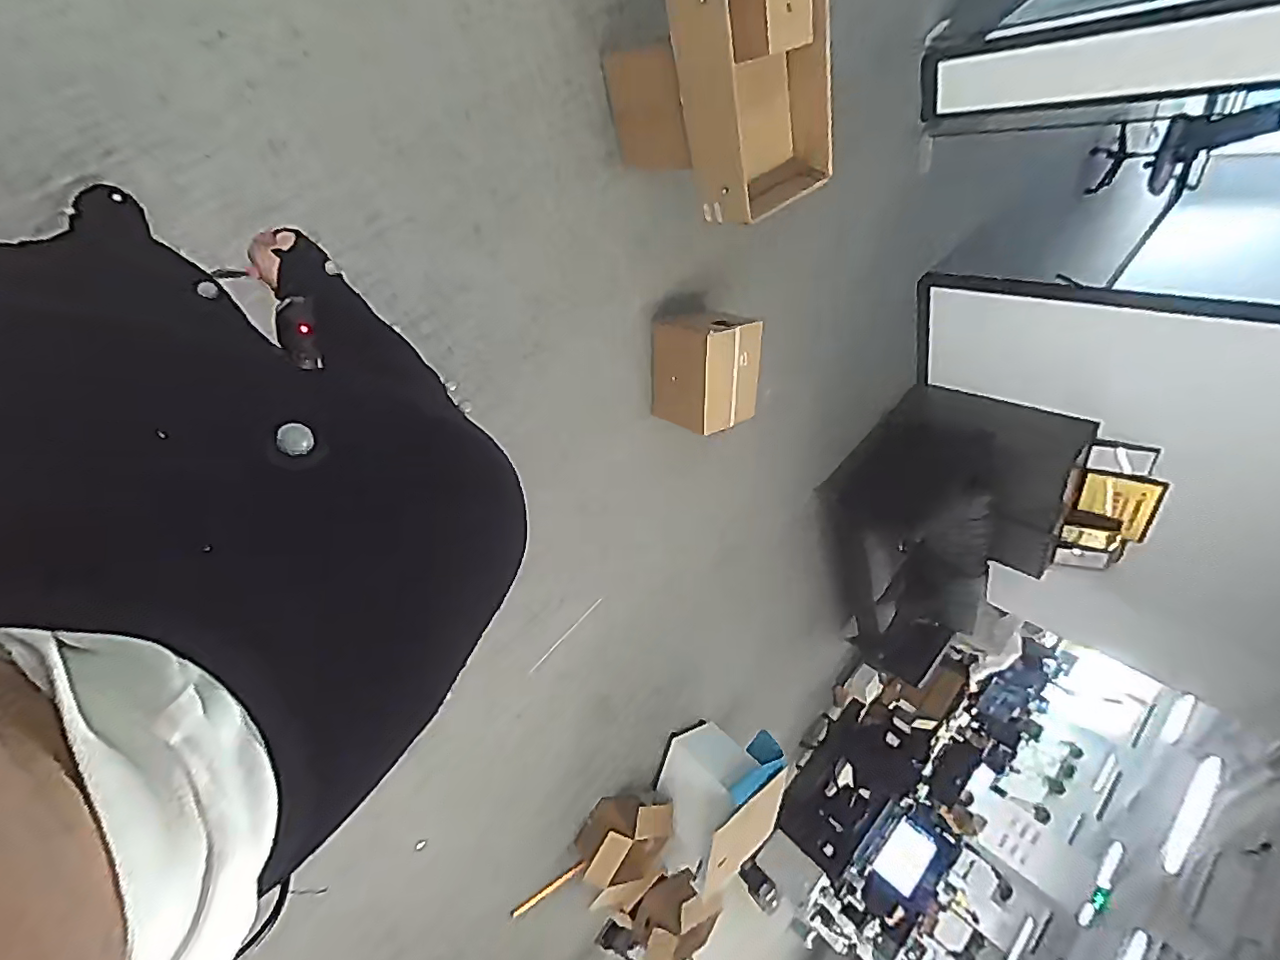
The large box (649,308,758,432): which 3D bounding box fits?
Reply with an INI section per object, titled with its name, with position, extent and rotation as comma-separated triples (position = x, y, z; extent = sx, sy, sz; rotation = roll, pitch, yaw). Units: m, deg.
[large box]
position = 0.255, -0.457, 2.201
extent = 0.320, 0.320, 0.408
rotation = -24, 125, -34
